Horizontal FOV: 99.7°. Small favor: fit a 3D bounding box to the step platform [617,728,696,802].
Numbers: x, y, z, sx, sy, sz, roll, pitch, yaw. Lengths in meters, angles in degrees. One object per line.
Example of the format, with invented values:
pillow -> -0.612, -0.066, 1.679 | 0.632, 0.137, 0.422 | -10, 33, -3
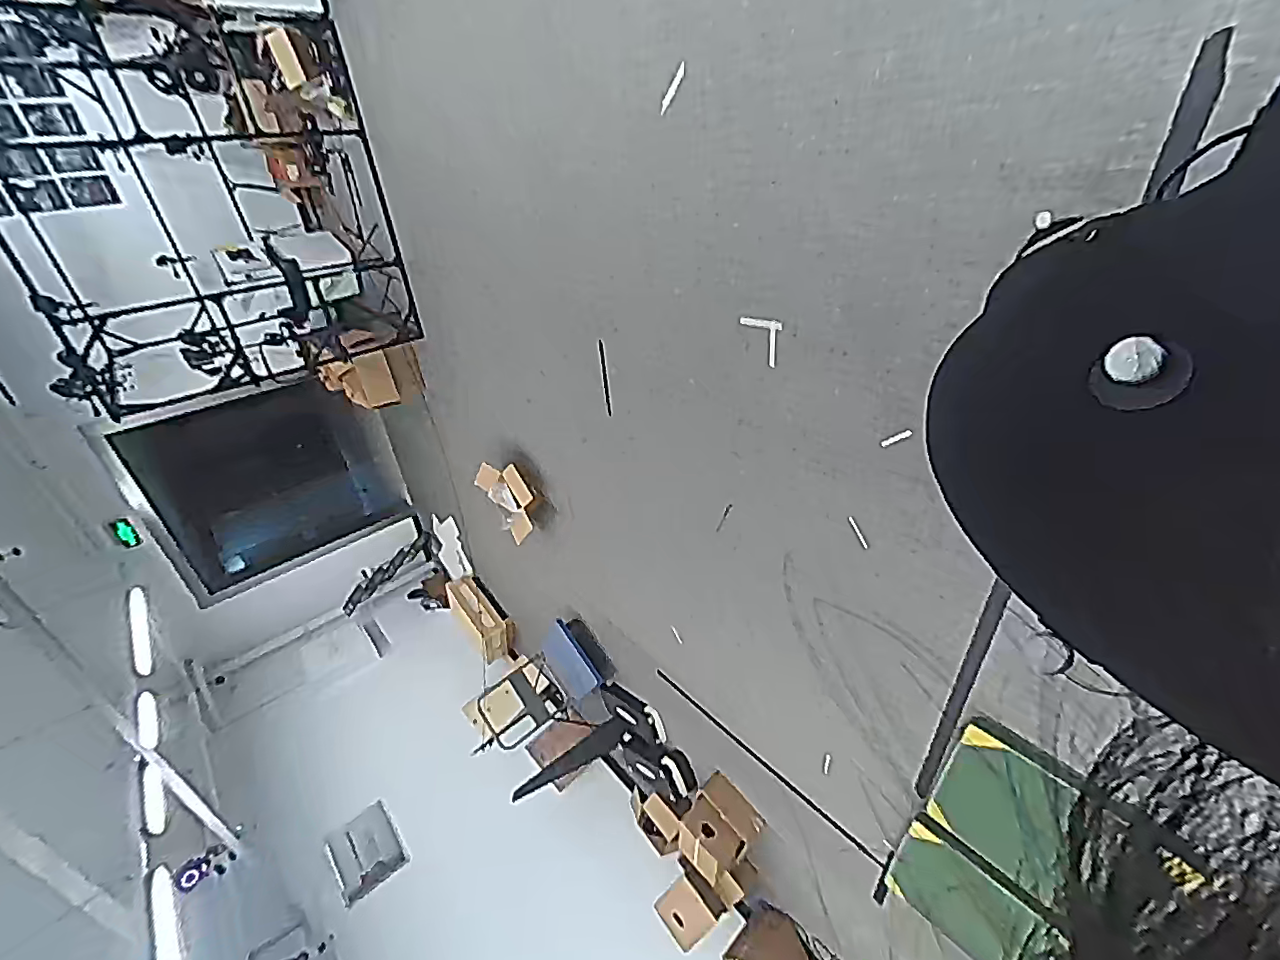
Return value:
step platform -> 0.101, 2.106, 4.009 | 0.684, 0.204, 0.286 | -10, 105, 55
